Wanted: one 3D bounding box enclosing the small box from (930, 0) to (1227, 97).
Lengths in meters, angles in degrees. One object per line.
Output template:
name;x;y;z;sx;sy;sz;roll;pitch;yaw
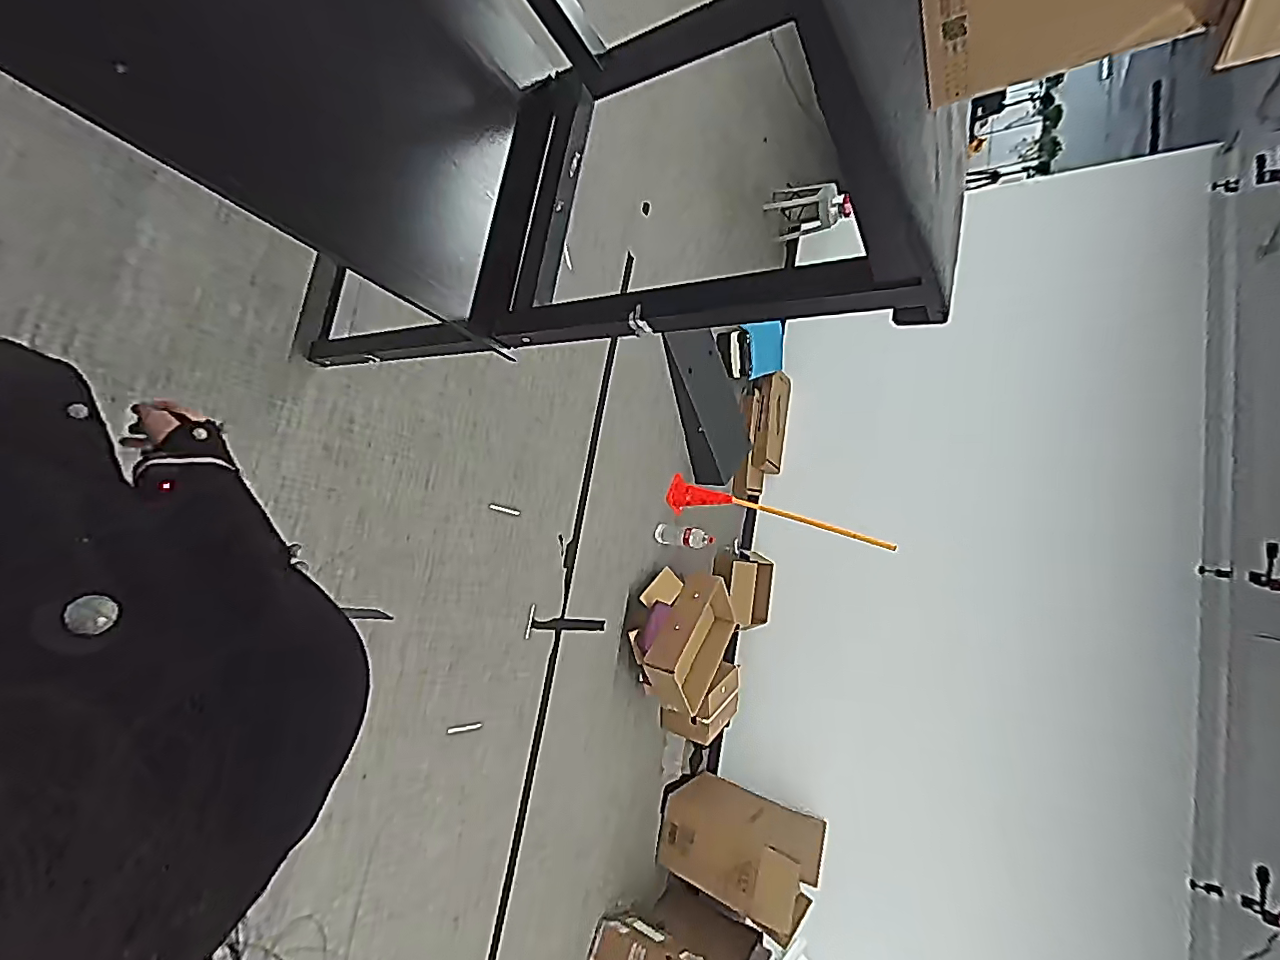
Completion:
small box;0.284;-0.401;0.348;0.168;0.176;0.179;31;67;-54
